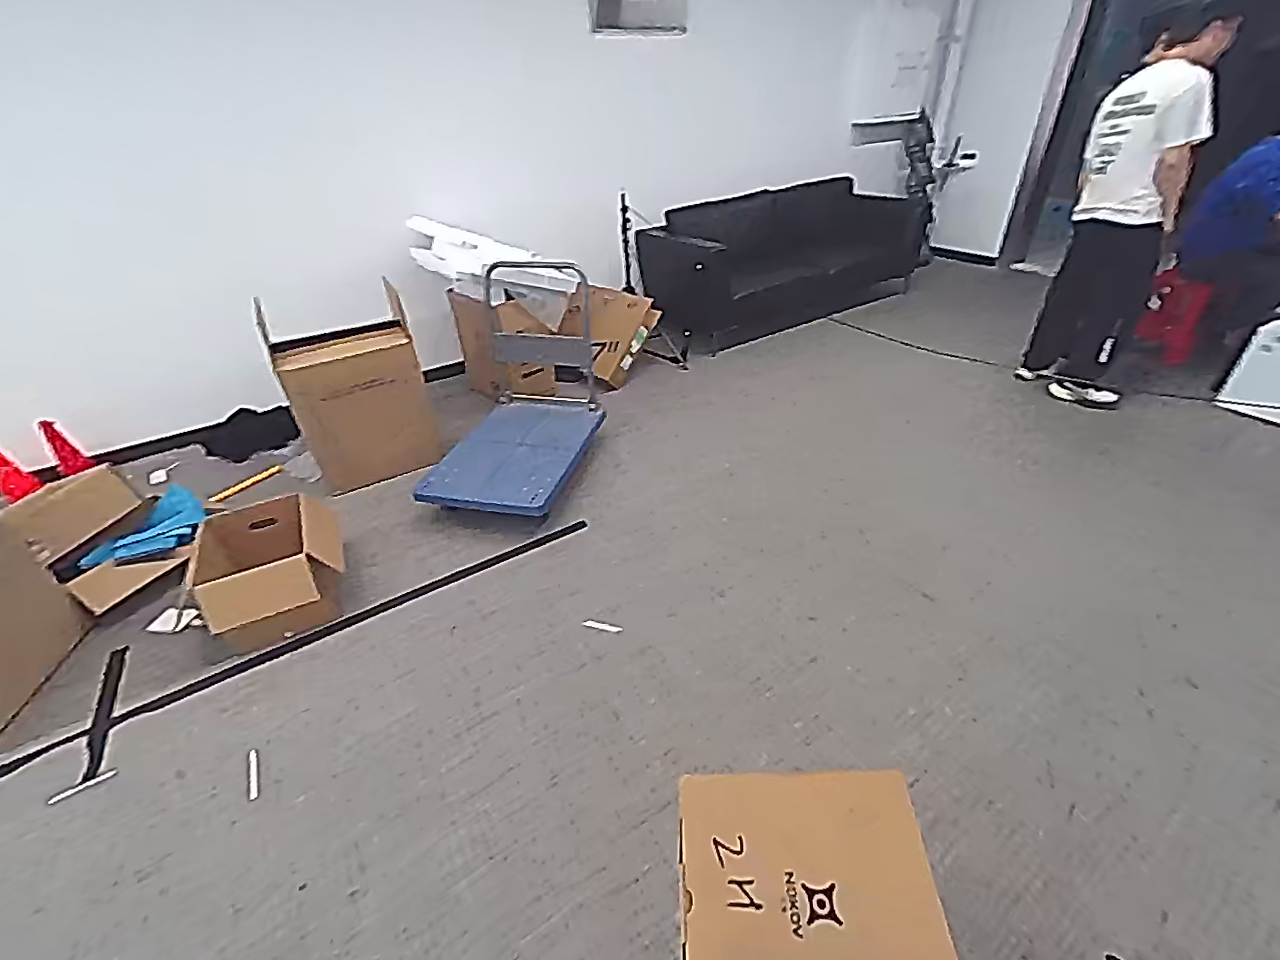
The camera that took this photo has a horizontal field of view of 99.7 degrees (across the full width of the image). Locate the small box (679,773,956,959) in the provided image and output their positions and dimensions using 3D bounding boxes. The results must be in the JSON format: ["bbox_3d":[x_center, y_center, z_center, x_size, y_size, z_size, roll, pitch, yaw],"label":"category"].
[{"bbox_3d":[0.125,0.346,0.428,0.179,0.176,0.168,-5,44,7],"label":"small box"}]
